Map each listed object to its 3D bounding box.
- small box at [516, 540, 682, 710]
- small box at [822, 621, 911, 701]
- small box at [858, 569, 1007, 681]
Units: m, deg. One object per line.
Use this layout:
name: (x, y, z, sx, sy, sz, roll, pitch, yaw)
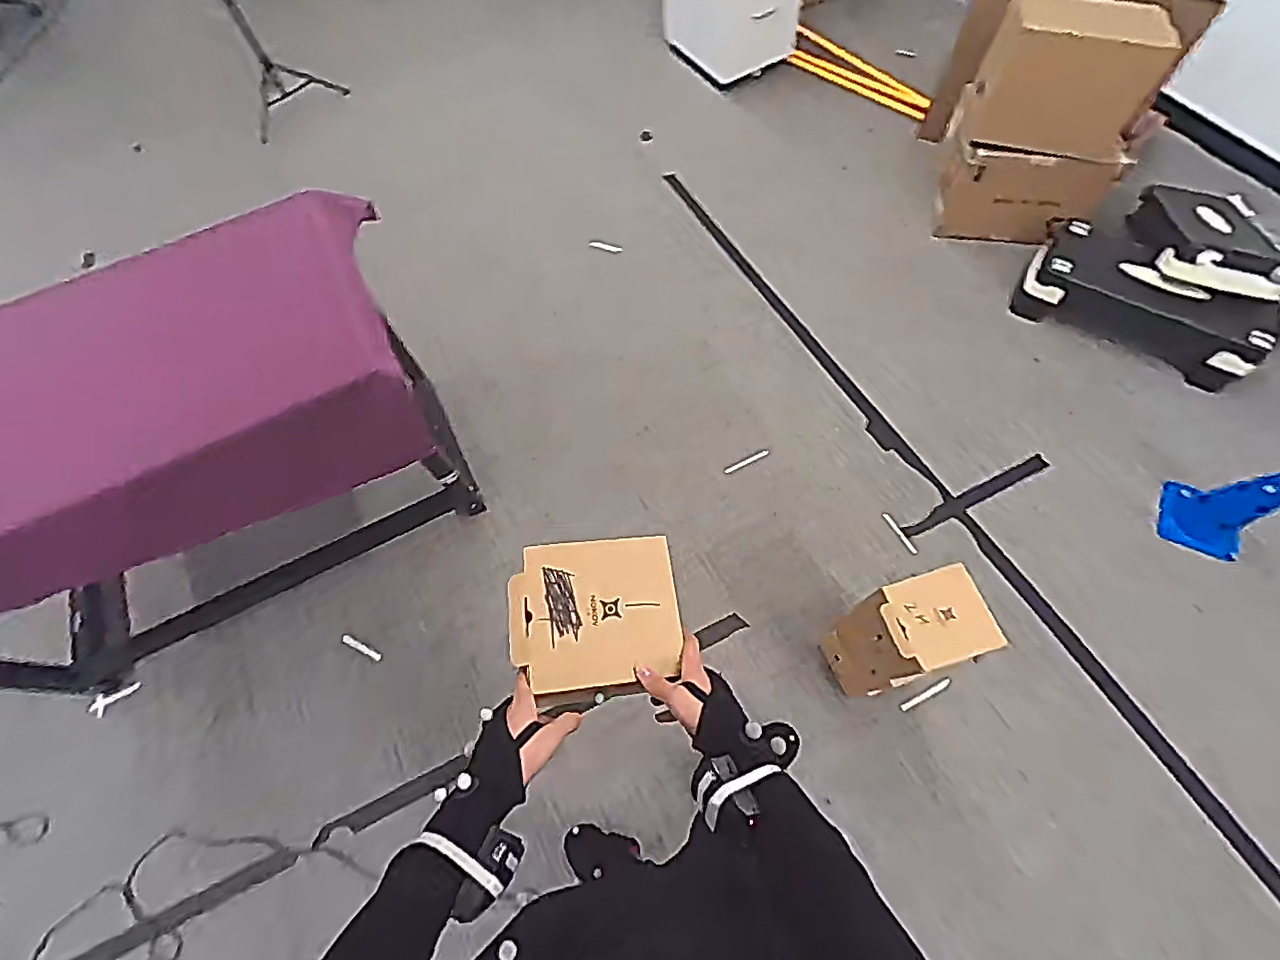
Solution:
small box: (-0.059, 0.187, 0.681, 0.179, 0.176, 0.168, -4, 64, -11)
small box: (0.585, 0.451, 1.381, 0.179, 0.176, 0.168, -21, 66, -7)
small box: (0.574, 0.296, 1.089, 0.179, 0.176, 0.168, -16, 65, -4)
